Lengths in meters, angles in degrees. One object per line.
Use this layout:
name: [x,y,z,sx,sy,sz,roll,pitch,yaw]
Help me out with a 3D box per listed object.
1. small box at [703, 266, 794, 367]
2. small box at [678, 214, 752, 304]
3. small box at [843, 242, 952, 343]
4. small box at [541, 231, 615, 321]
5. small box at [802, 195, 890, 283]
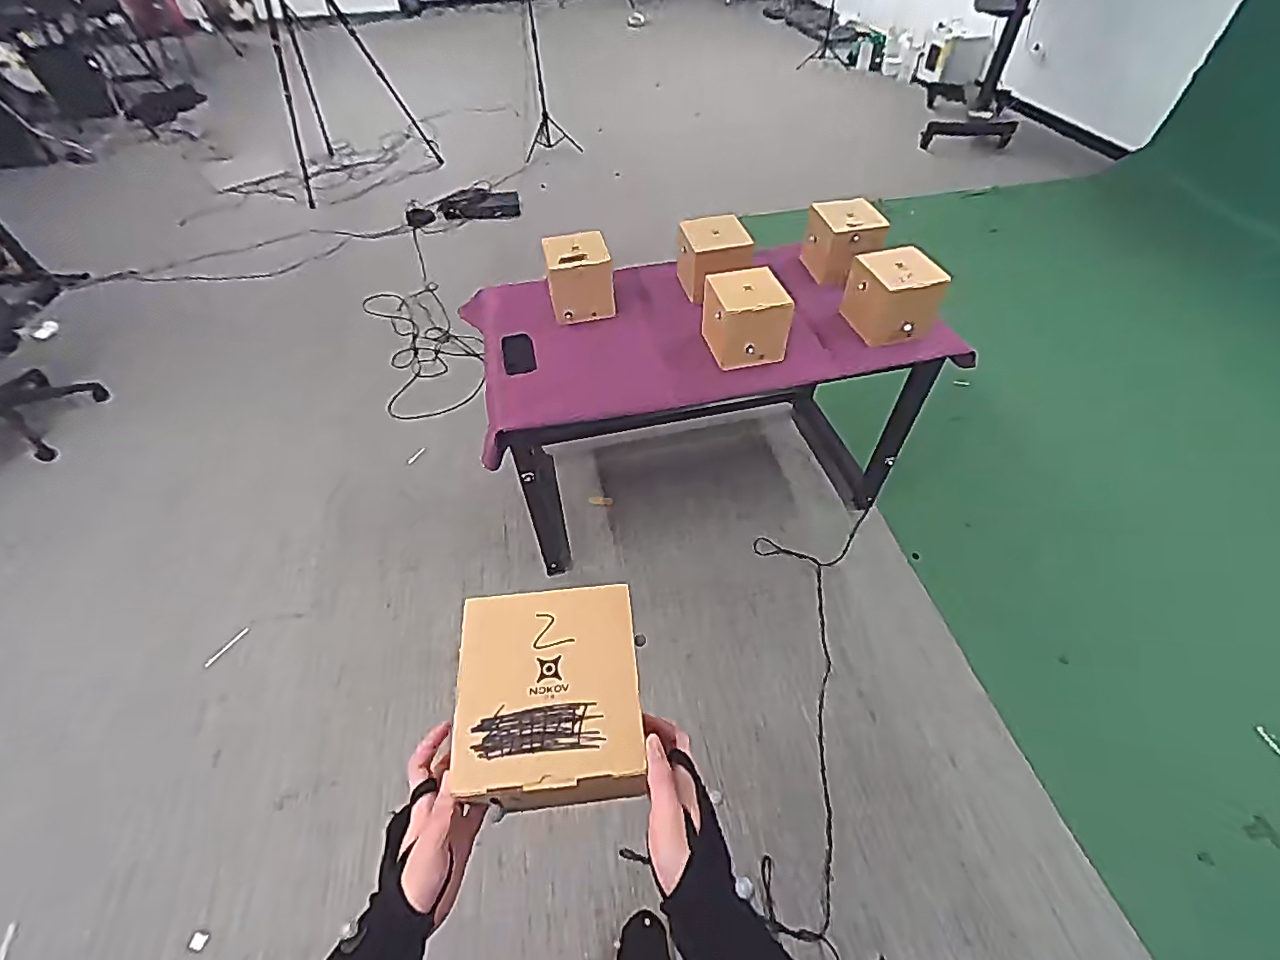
small box: [0.261,-0.408,1.352,0.168,0.176,0.179,-11,51,-6]
small box: [0.205,-0.628,1.537,0.168,0.176,0.179,-11,51,-5]
small box: [0.645,-0.479,1.384,0.168,0.176,0.179,-13,52,-5]
small box: [-0.169,-0.555,1.493,0.168,0.176,0.179,-12,51,-6]
small box: [0.588,-0.700,1.574,0.168,0.176,0.179,-10,51,-4]
